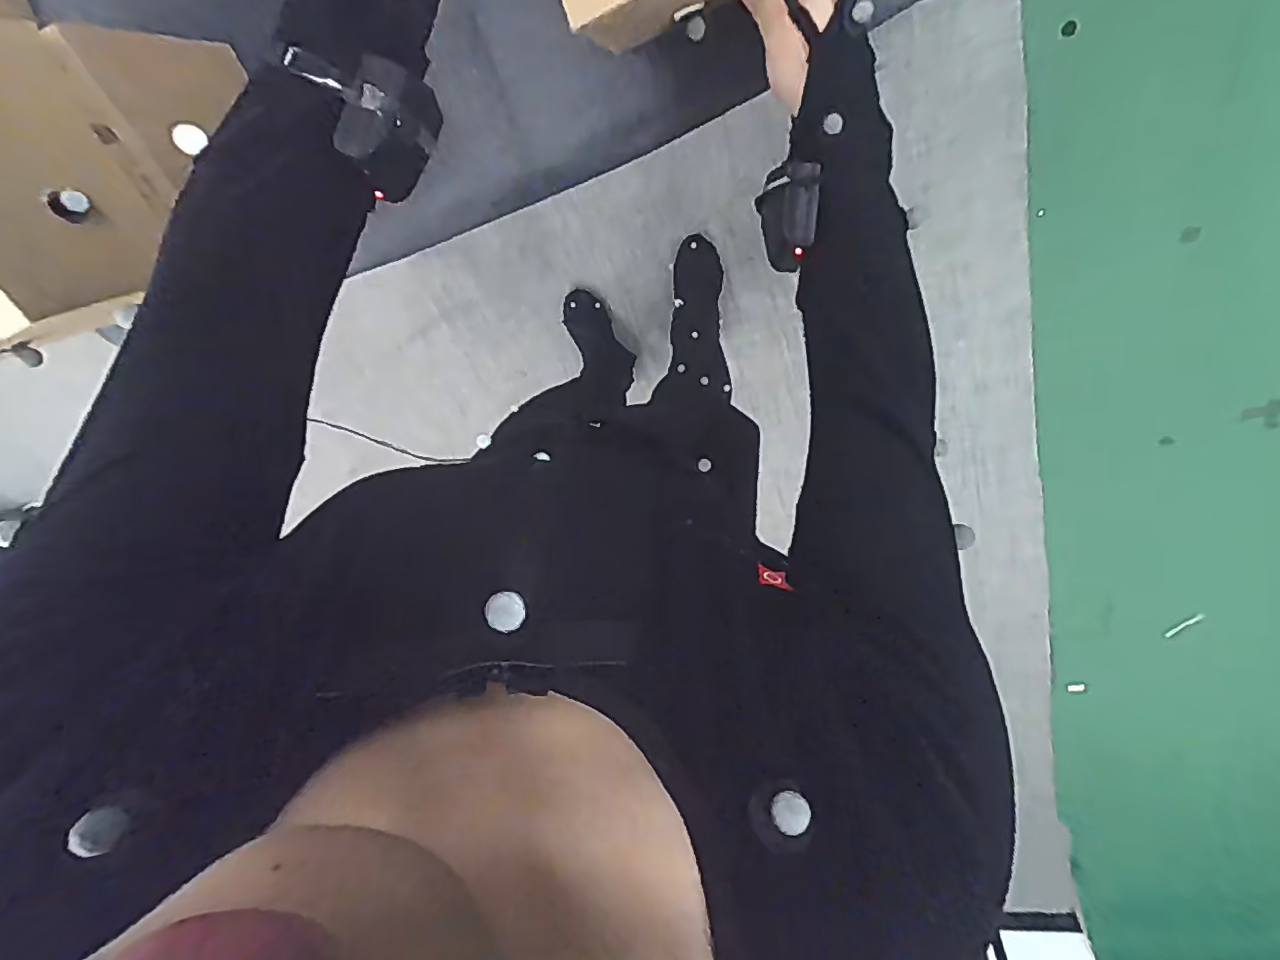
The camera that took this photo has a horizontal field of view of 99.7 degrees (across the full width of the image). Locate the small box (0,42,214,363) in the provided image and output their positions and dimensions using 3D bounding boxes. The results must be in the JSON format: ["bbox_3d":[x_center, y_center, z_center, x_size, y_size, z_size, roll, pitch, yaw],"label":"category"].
[{"bbox_3d":[-0.470,-0.192,0.395,0.179,0.176,0.168,-12,122,19],"label":"small box"}]
